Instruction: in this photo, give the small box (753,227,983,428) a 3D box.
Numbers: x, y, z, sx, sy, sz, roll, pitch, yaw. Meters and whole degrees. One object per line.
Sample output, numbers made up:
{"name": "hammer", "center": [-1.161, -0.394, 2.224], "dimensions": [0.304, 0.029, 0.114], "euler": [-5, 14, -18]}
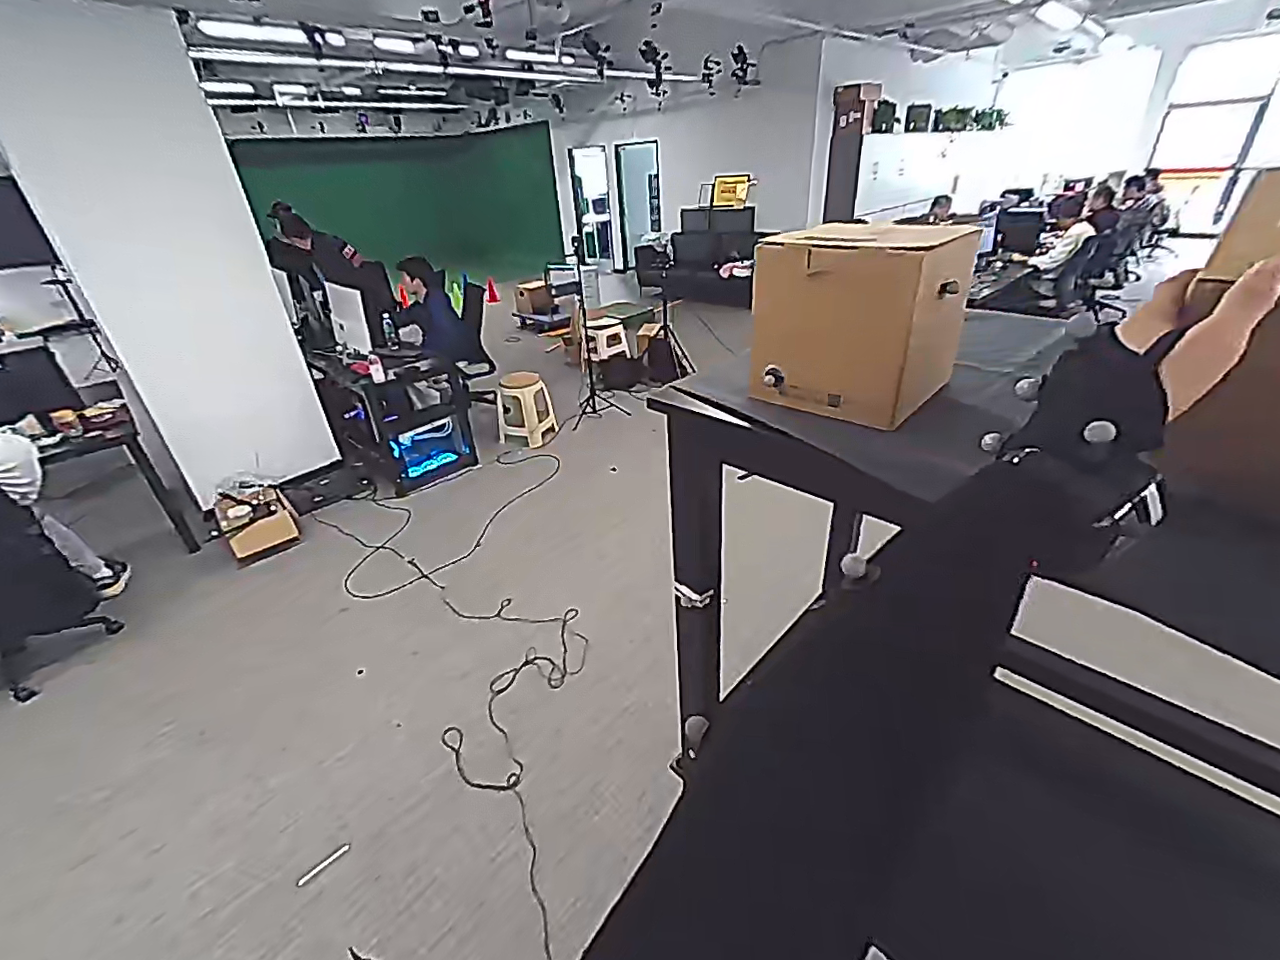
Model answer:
{"name": "small box", "center": [0.237, -0.172, 0.584], "dimensions": [0.168, 0.176, 0.179], "euler": [23, 39, 37]}
